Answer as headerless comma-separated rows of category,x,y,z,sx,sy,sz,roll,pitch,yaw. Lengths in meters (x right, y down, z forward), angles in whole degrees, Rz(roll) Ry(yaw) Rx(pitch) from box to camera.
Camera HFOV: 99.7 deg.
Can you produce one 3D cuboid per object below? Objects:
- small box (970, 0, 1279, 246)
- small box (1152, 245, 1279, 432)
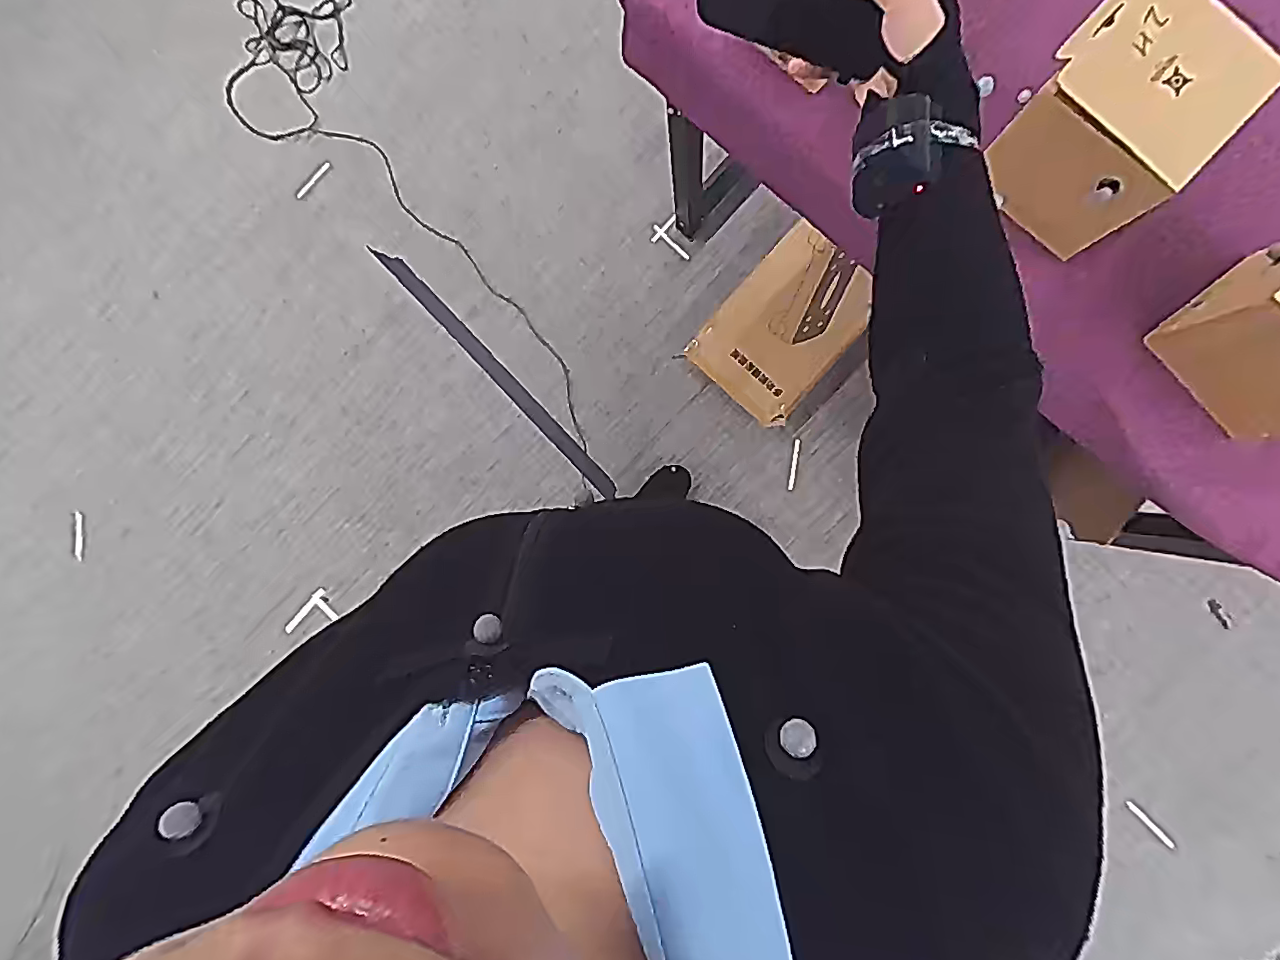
small box,0.541,-0.405,0.627,0.179,0.176,0.168,43,92,4
small box,0.755,-0.170,0.606,0.168,0.176,0.179,-40,86,4
